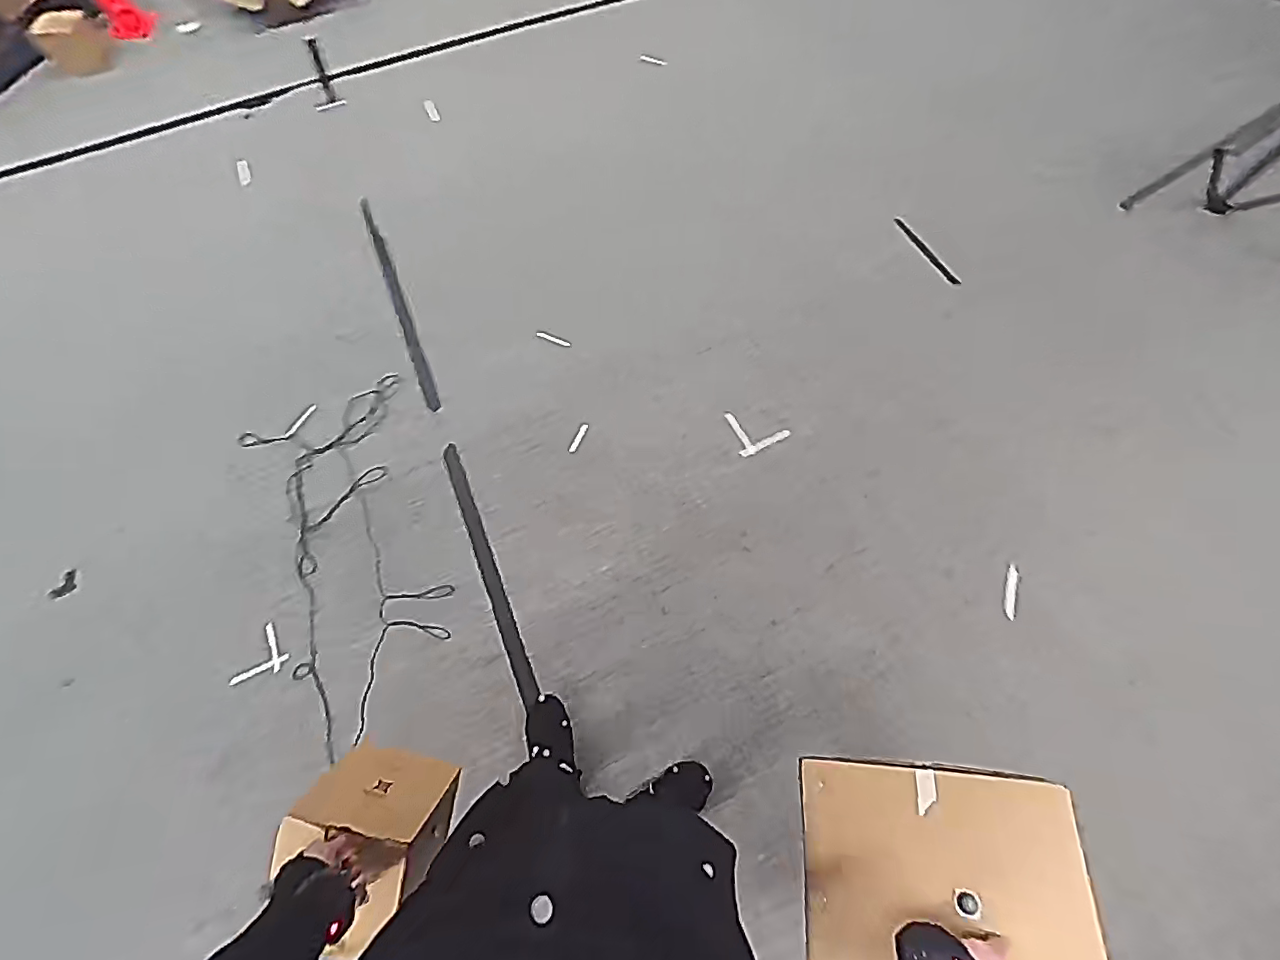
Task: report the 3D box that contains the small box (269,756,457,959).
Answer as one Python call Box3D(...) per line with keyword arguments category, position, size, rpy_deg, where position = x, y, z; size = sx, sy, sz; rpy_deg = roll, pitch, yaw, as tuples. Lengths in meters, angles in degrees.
Box3D(category="small box", position=(-0.373, 0.521, 0.743), size=(0.168, 0.179, 0.176), rpy_deg=(11, 92, 0))
